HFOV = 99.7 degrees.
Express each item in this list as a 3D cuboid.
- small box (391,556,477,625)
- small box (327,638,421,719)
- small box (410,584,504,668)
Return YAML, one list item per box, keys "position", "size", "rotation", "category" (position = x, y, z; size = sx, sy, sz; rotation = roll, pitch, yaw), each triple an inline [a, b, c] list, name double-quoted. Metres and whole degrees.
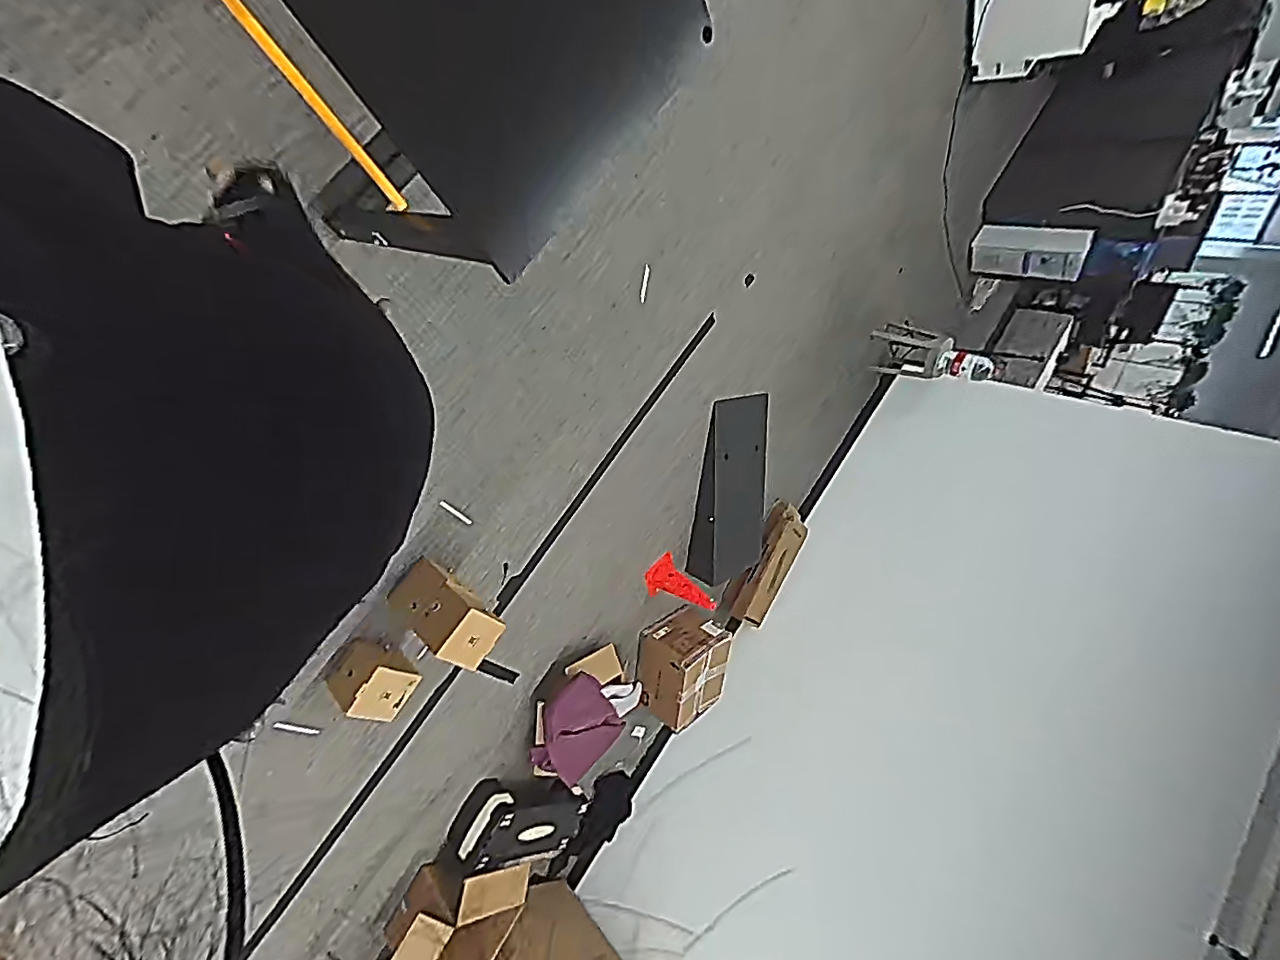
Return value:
- position: [-0.672, 0.378, 1.749]
  size: [0.179, 0.176, 0.168]
  rotation: [-53, 141, -14]
  category: "small box"
- position: [-0.839, 0.619, 1.697]
  size: [0.168, 0.176, 0.179]
  rotation: [-56, 141, -10]
  category: "small box"
- position: [-0.560, 0.442, 1.651]
  size: [0.168, 0.176, 0.179]
  rotation: [-55, 140, -13]
  category: "small box"
